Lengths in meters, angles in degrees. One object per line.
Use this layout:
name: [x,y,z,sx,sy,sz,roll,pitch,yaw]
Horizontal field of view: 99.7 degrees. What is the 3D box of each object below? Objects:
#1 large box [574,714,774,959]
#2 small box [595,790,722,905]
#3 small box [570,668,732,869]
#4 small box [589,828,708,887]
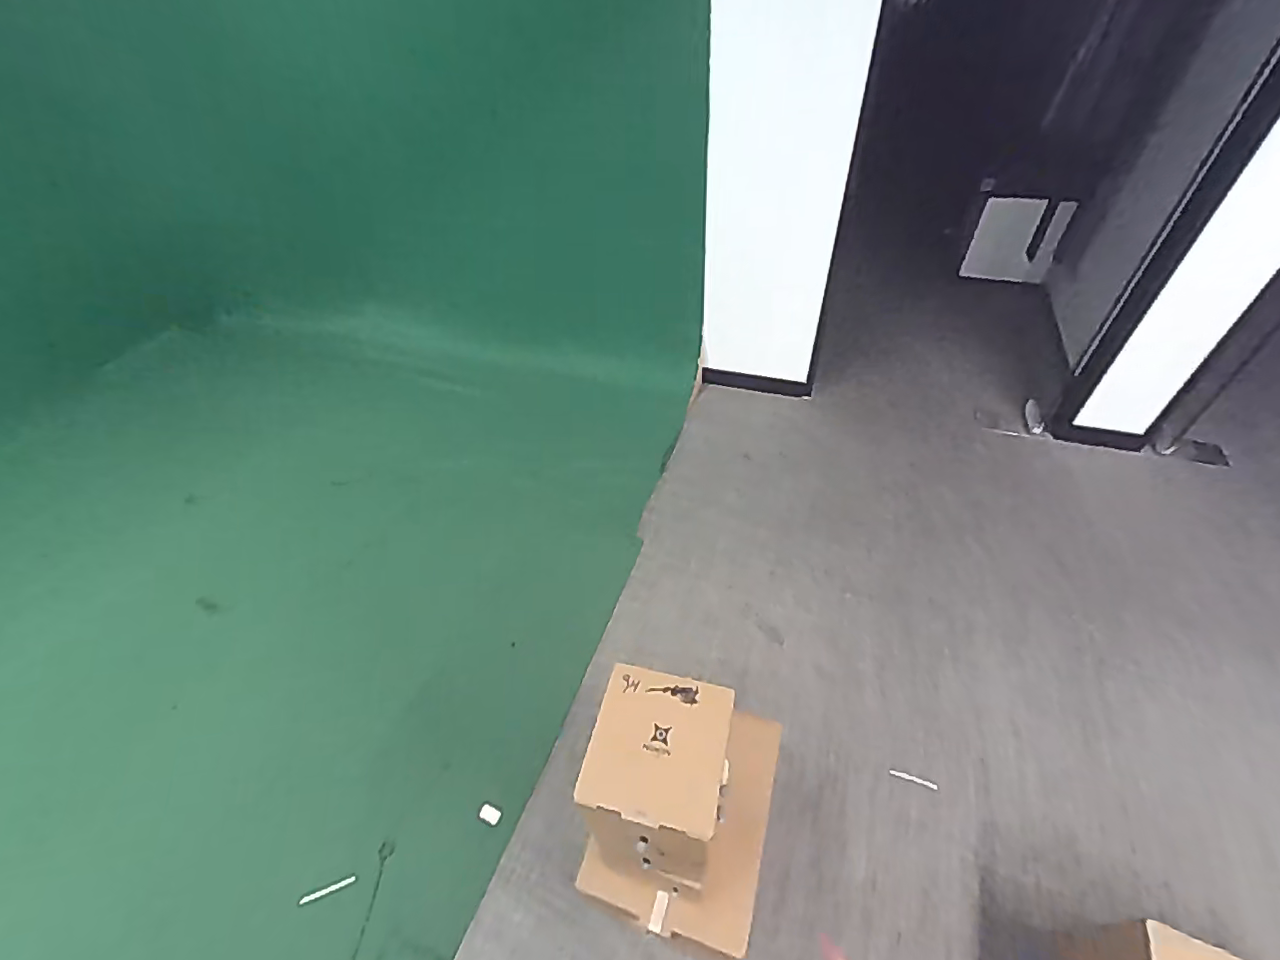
large box: [0.091,0.739,1.162,0.320,0.320,0.408,12,47,15]
small box: [0.039,0.615,0.947,0.179,0.176,0.168,10,47,15]
small box: [0.025,0.383,0.716,0.168,0.176,0.179,9,47,14]
small box: [0.033,0.496,0.835,0.168,0.176,0.179,8,46,11]
